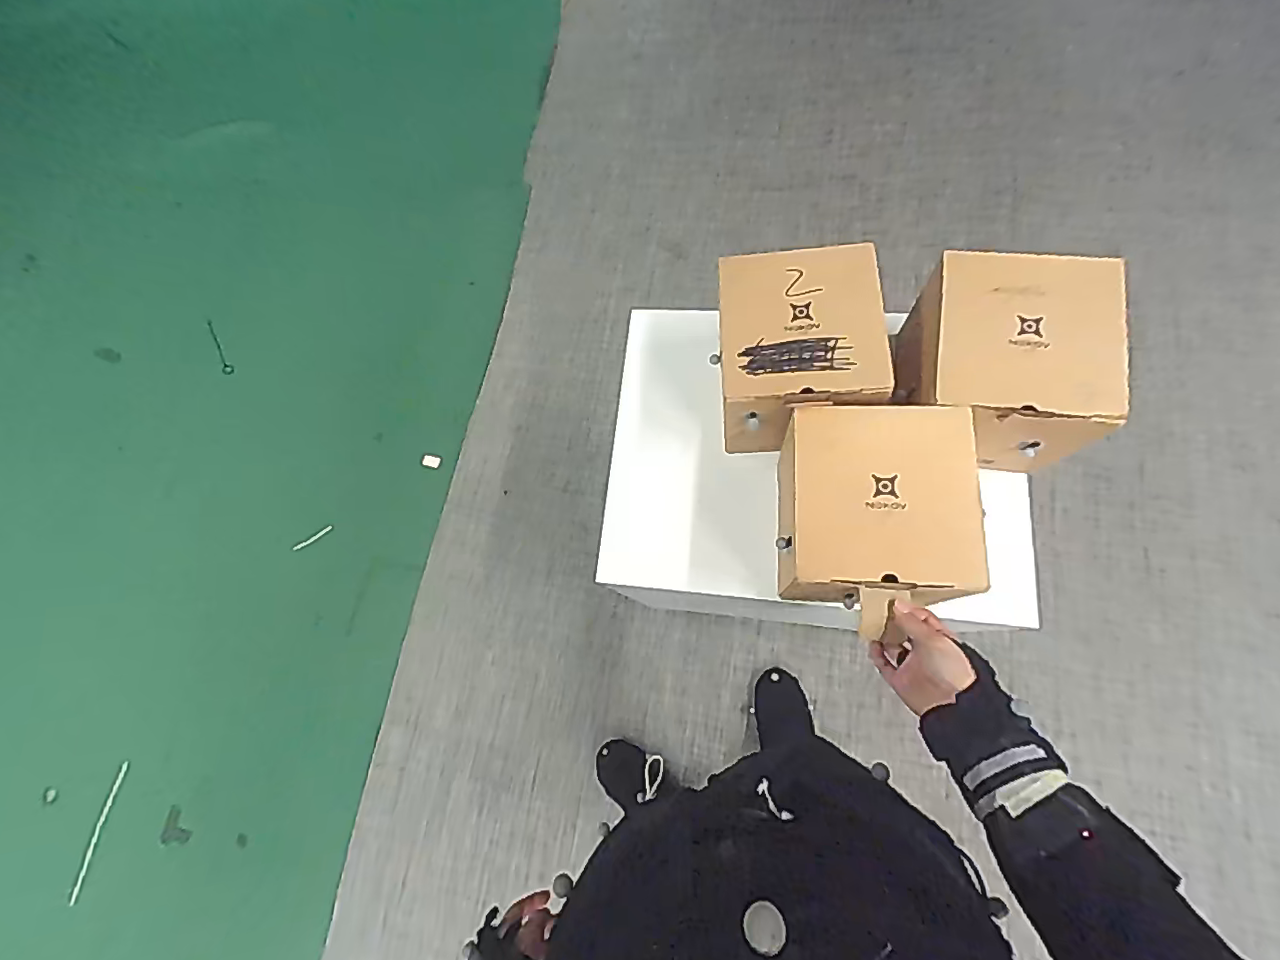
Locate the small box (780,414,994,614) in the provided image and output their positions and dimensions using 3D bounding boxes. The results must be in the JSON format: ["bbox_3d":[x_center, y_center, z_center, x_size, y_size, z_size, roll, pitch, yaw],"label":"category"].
[{"bbox_3d":[0.242,0.043,0.577,0.168,0.176,0.179,1,73,9],"label":"small box"}]

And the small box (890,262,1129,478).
[{"bbox_3d":[0.389,-0.112,0.600,0.168,0.176,0.179,8,74,11],"label":"small box"}]
